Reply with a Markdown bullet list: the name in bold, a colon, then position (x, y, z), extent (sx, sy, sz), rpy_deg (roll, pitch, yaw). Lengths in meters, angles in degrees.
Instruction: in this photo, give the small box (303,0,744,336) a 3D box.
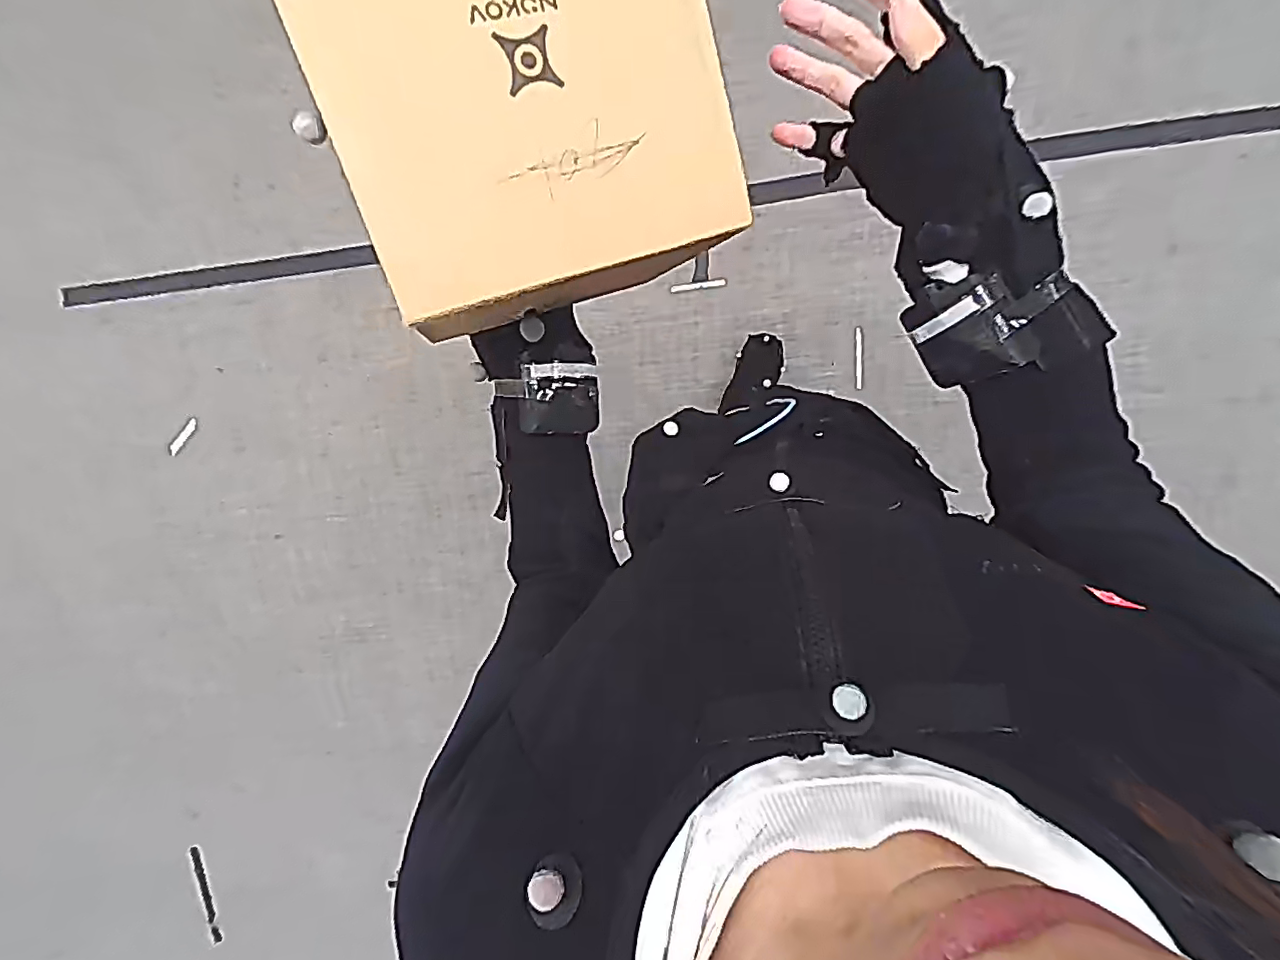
- **small box**: position (-0.069, -0.193, 0.304), extent (0.168, 0.176, 0.179), rpy_deg (-21, 105, -13)
